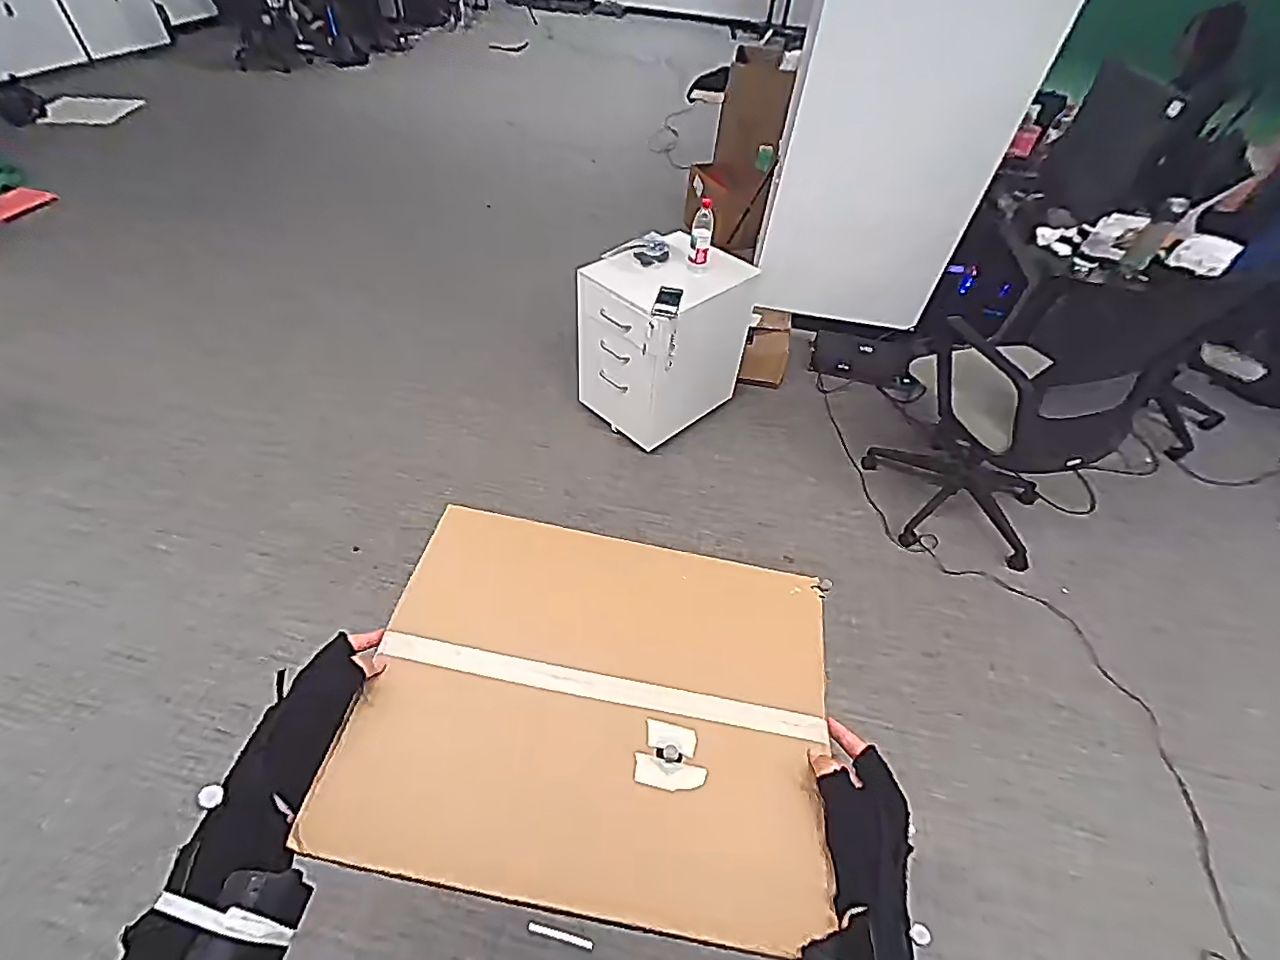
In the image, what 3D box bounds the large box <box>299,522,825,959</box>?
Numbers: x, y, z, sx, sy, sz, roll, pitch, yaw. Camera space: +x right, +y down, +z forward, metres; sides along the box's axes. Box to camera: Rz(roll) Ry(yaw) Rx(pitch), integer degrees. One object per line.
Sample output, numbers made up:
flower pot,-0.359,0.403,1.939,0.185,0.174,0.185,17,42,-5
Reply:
large box,-0.055,0.289,0.603,0.408,0.320,0.320,12,52,1
